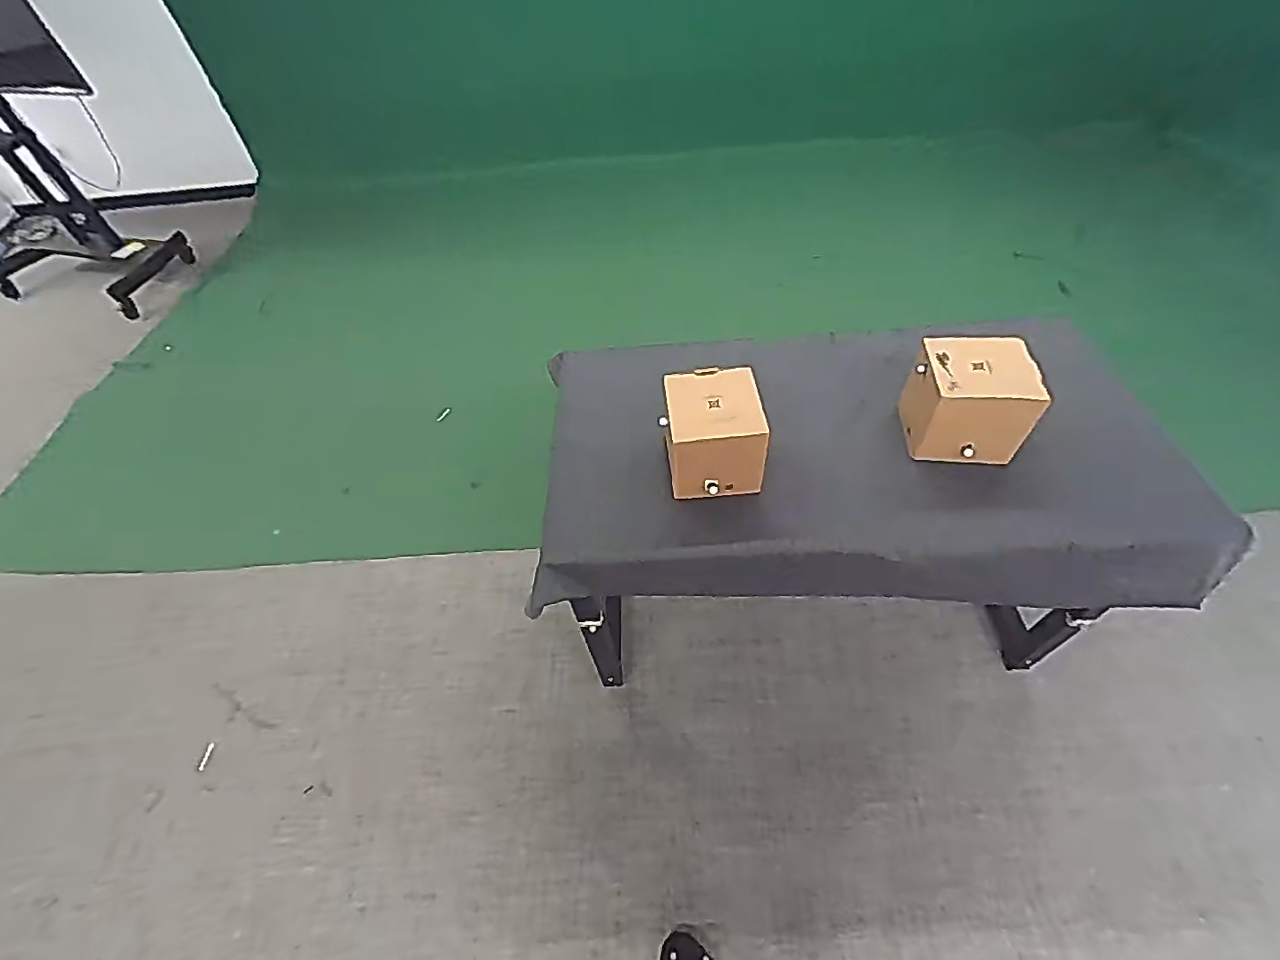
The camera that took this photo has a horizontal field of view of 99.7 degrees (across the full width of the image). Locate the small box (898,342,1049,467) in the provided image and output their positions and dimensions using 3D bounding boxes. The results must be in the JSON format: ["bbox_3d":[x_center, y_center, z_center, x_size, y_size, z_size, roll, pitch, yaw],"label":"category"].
[{"bbox_3d":[0.617,-0.139,1.025,0.179,0.176,0.168,4,52,7],"label":"small box"}]

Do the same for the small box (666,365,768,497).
[{"bbox_3d":[0.137,-0.088,1.007,0.168,0.176,0.179,-5,51,4],"label":"small box"}]
